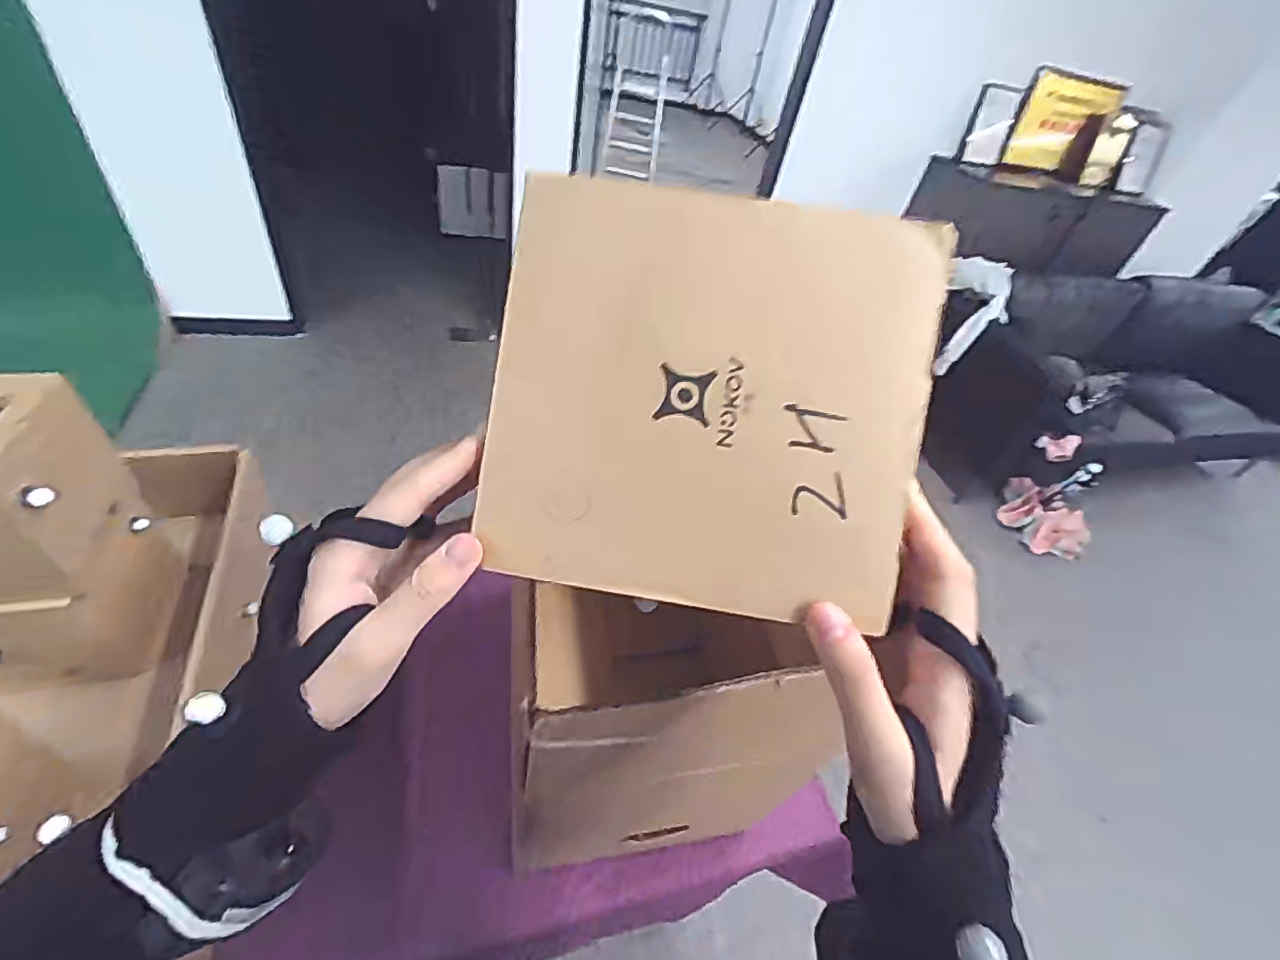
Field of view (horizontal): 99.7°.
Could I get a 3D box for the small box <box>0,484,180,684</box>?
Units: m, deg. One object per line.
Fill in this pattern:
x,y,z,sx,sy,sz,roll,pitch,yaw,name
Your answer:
-0.704,0.127,0.650,0.168,0.176,0.179,-4,46,-16,small box

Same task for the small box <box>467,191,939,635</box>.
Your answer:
0.029,-0.030,0.306,0.179,0.168,0.176,10,1,3,small box
